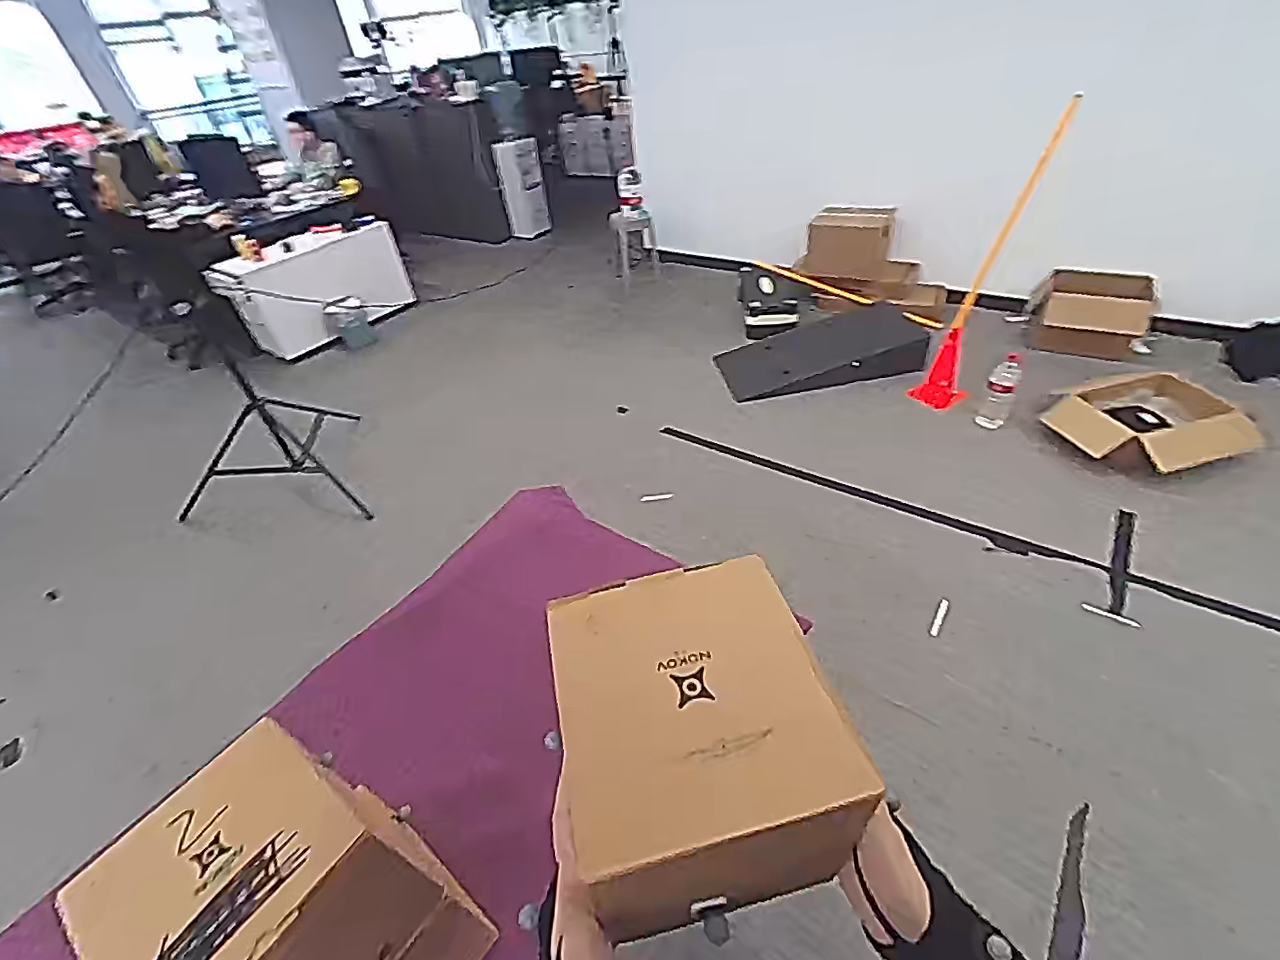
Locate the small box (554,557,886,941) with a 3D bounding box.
[{"bbox_3d":[0.038,0.188,0.391,0.168,0.176,0.179,-12,42,-8],"label":"small box"}]

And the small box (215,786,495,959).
[{"bbox_3d":[-0.286,0.478,0.572,0.179,0.176,0.168,23,50,32],"label":"small box"}]
